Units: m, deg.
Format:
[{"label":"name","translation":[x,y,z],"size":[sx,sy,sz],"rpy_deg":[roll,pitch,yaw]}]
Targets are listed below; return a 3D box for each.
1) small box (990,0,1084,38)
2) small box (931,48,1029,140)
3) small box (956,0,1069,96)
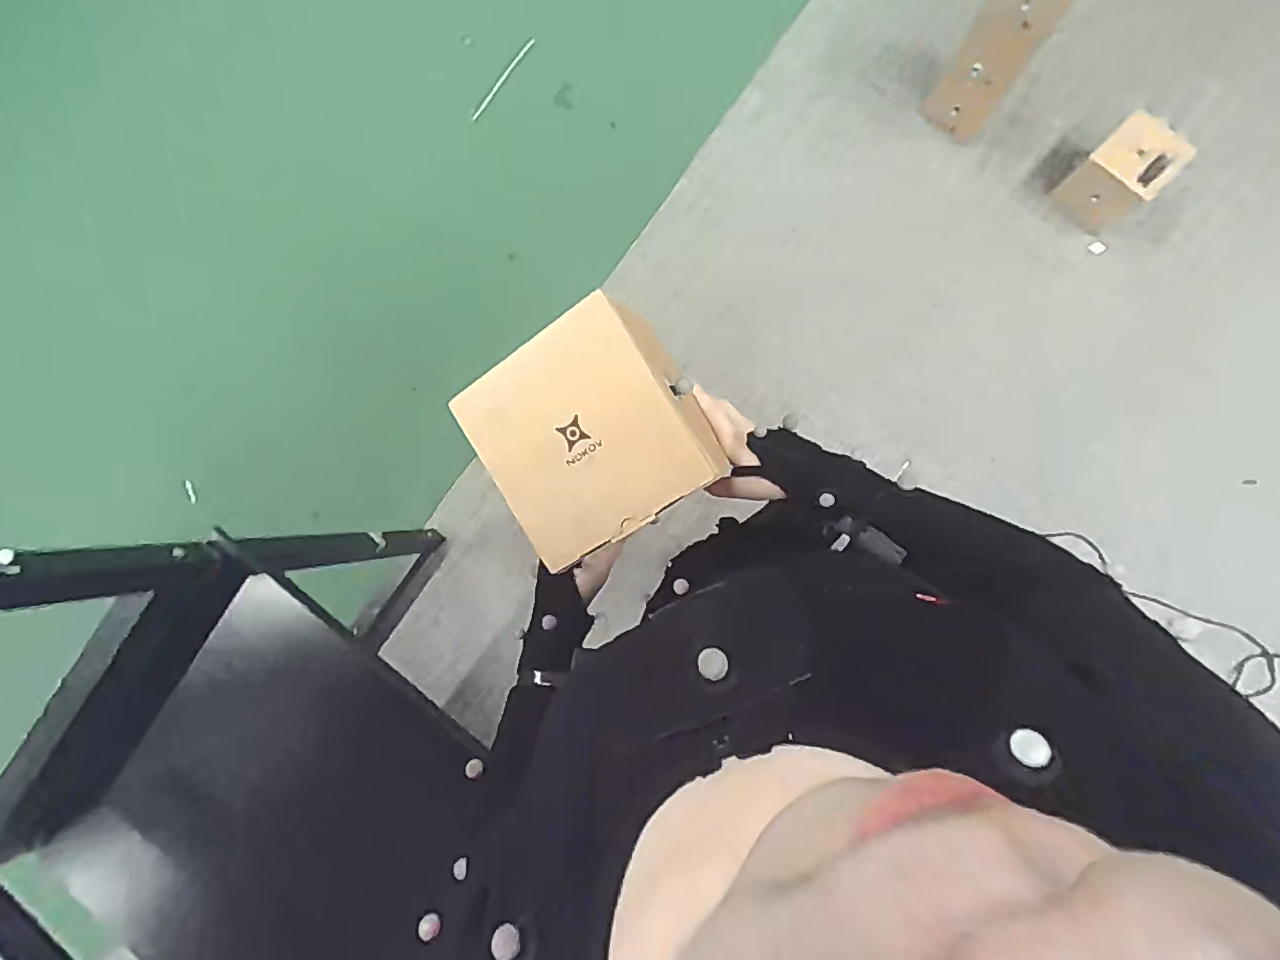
[{"label":"small box","translation":[0.856,-1.060,1.086],"size":[0.168,0.176,0.179],"rpy_deg":[38,91,10]},{"label":"small box","translation":[0.896,-1.044,1.411],"size":[0.168,0.176,0.179],"rpy_deg":[41,92,8]},{"label":"small box","translation":[0.877,-1.053,1.250],"size":[0.168,0.176,0.179],"rpy_deg":[38,92,9]}]
